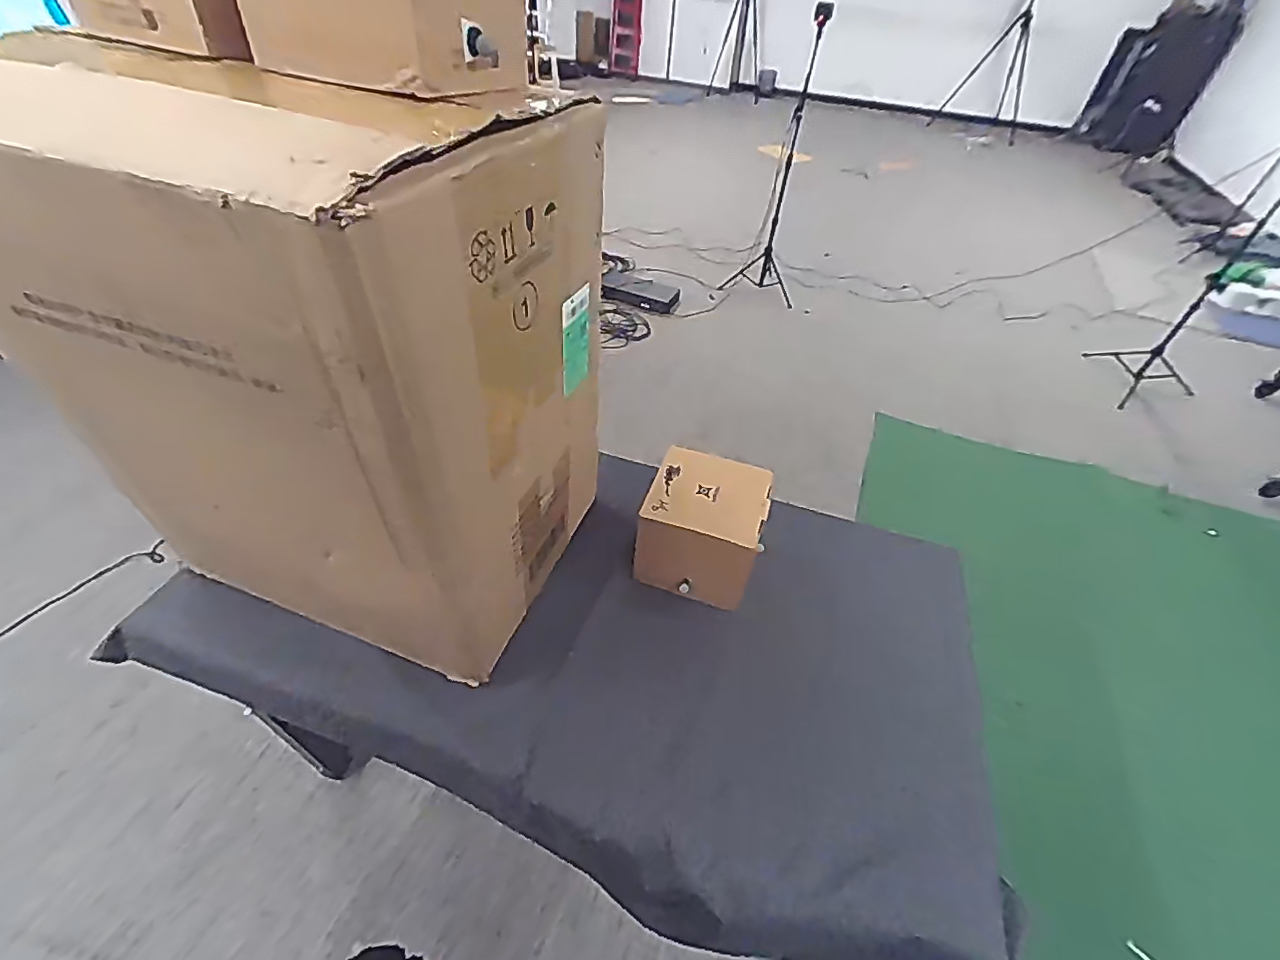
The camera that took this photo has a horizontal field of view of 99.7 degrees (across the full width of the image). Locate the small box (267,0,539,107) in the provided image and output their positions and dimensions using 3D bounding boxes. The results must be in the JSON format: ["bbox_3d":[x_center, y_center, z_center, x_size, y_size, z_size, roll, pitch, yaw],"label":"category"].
[{"bbox_3d":[-0.202,-0.435,0.464,0.179,0.176,0.168,19,43,11],"label":"small box"}]

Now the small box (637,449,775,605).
[{"bbox_3d":[0.105,0.080,0.884,0.179,0.176,0.168,16,46,11],"label":"small box"}]
